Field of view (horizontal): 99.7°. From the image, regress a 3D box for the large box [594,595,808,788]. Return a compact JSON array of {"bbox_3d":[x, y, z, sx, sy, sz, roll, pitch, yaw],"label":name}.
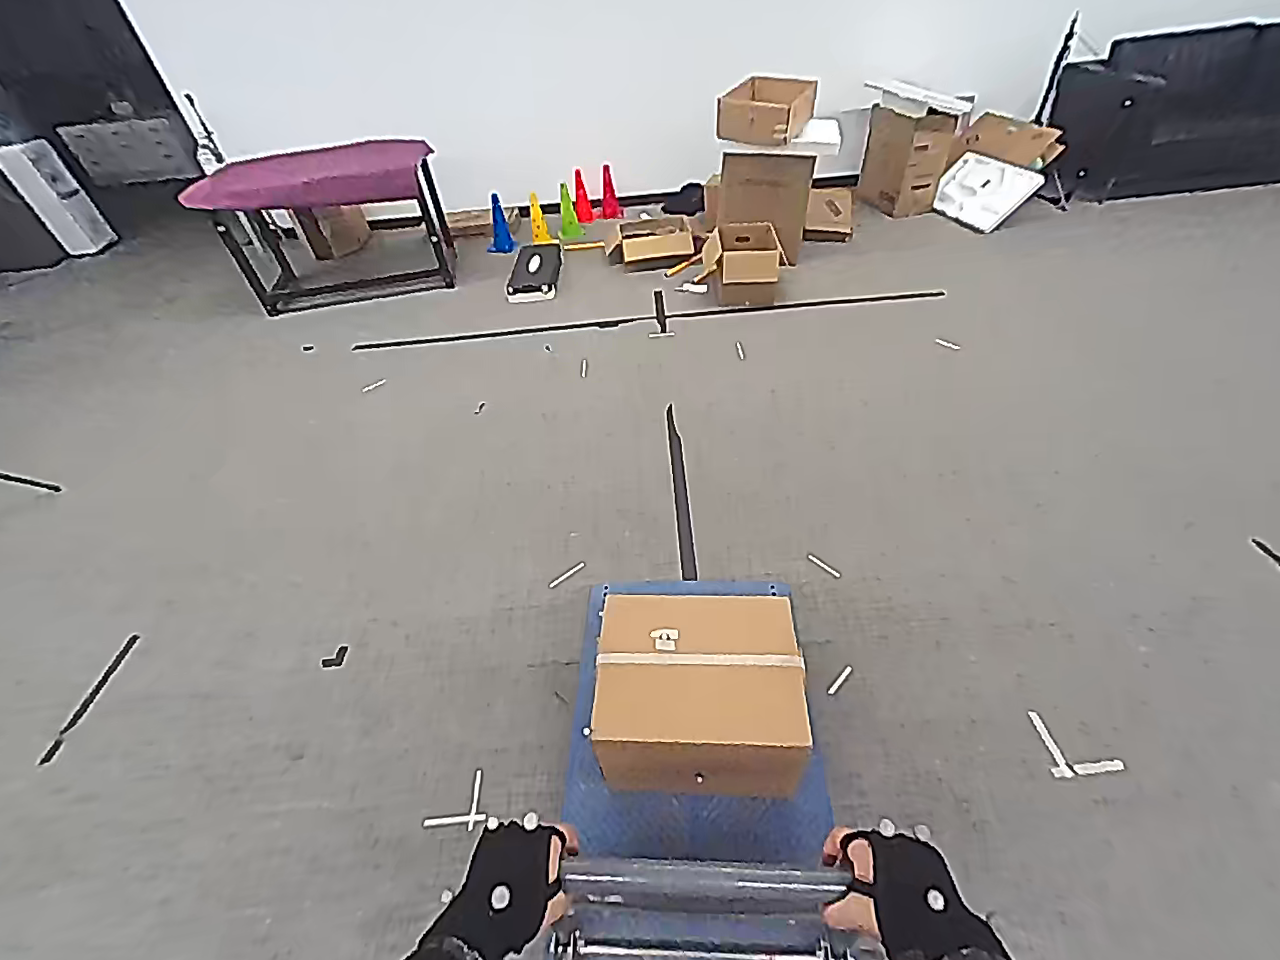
[{"bbox_3d":[0.130,0.477,1.208,0.408,0.320,0.320,-2,44,6],"label":"large box"}]
